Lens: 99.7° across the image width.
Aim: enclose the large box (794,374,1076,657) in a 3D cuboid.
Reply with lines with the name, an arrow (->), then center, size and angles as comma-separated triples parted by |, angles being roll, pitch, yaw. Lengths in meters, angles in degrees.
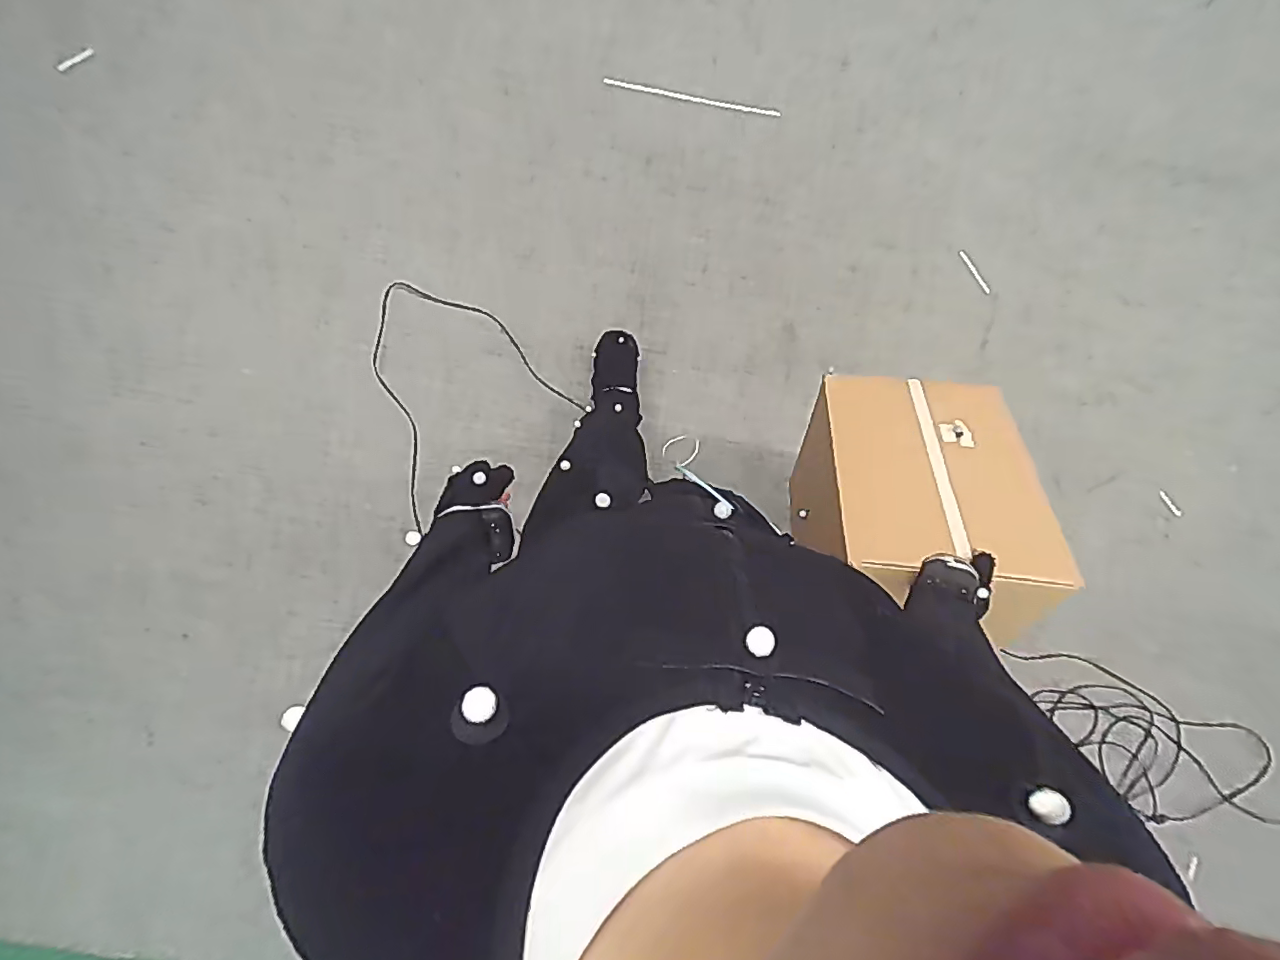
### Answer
large box -> 0.472, 0.063, 0.984 | 0.320, 0.320, 0.408 | 6, 51, 5
